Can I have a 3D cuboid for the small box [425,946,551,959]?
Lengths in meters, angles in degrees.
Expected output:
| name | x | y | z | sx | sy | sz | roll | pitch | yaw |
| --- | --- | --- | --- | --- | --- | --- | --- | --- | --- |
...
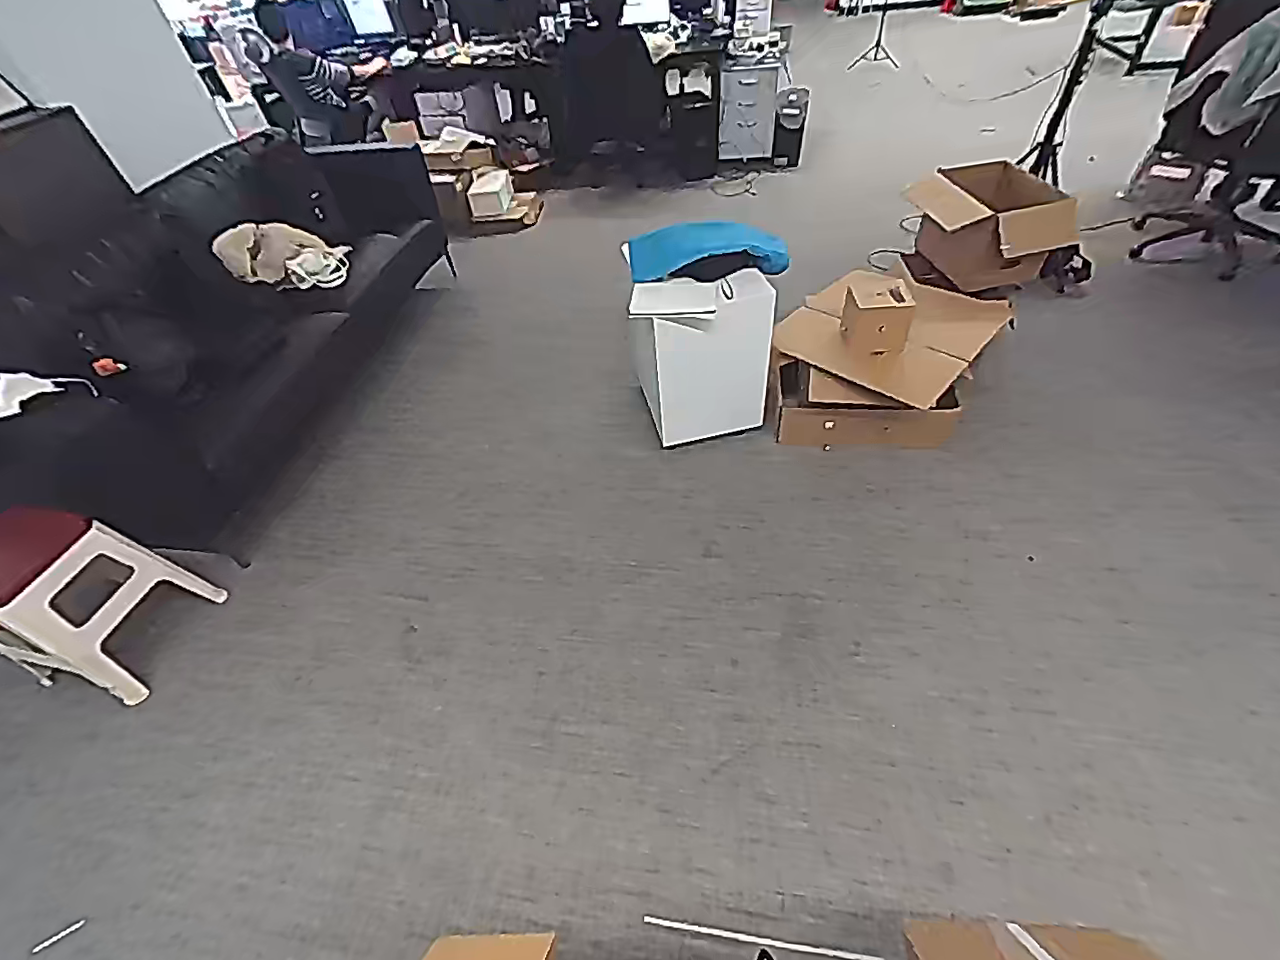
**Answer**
| name | x | y | z | sx | sy | sz | roll | pitch | yaw |
| --- | --- | --- | --- | --- | --- | --- | --- | --- | --- |
| small box | -0.202 | 0.689 | 0.624 | 0.168 | 0.179 | 0.176 | -6 | 79 | 5 |
